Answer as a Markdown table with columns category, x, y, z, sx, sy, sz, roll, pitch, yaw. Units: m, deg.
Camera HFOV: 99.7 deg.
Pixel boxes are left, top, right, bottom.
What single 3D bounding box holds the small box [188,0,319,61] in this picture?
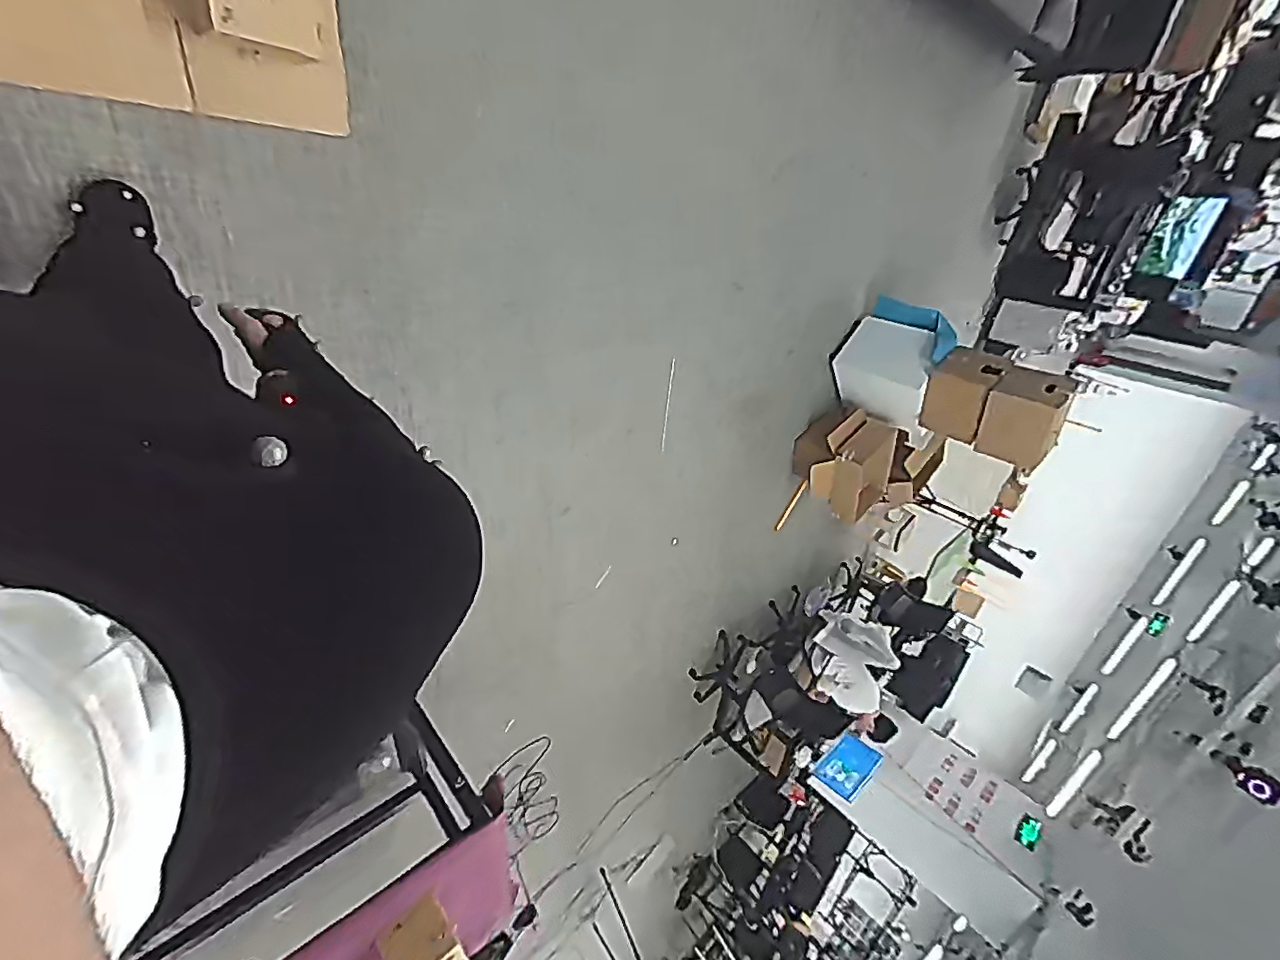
| category | x | y | z | sx | sy | sz | roll | pitch | yaw |
| --- | --- | --- | --- | --- | --- | --- | --- | --- | --- |
| small box | -0.737 | -0.920 | 1.024 | 0.179 | 0.176 | 0.168 | -15 | 125 | -42 |
